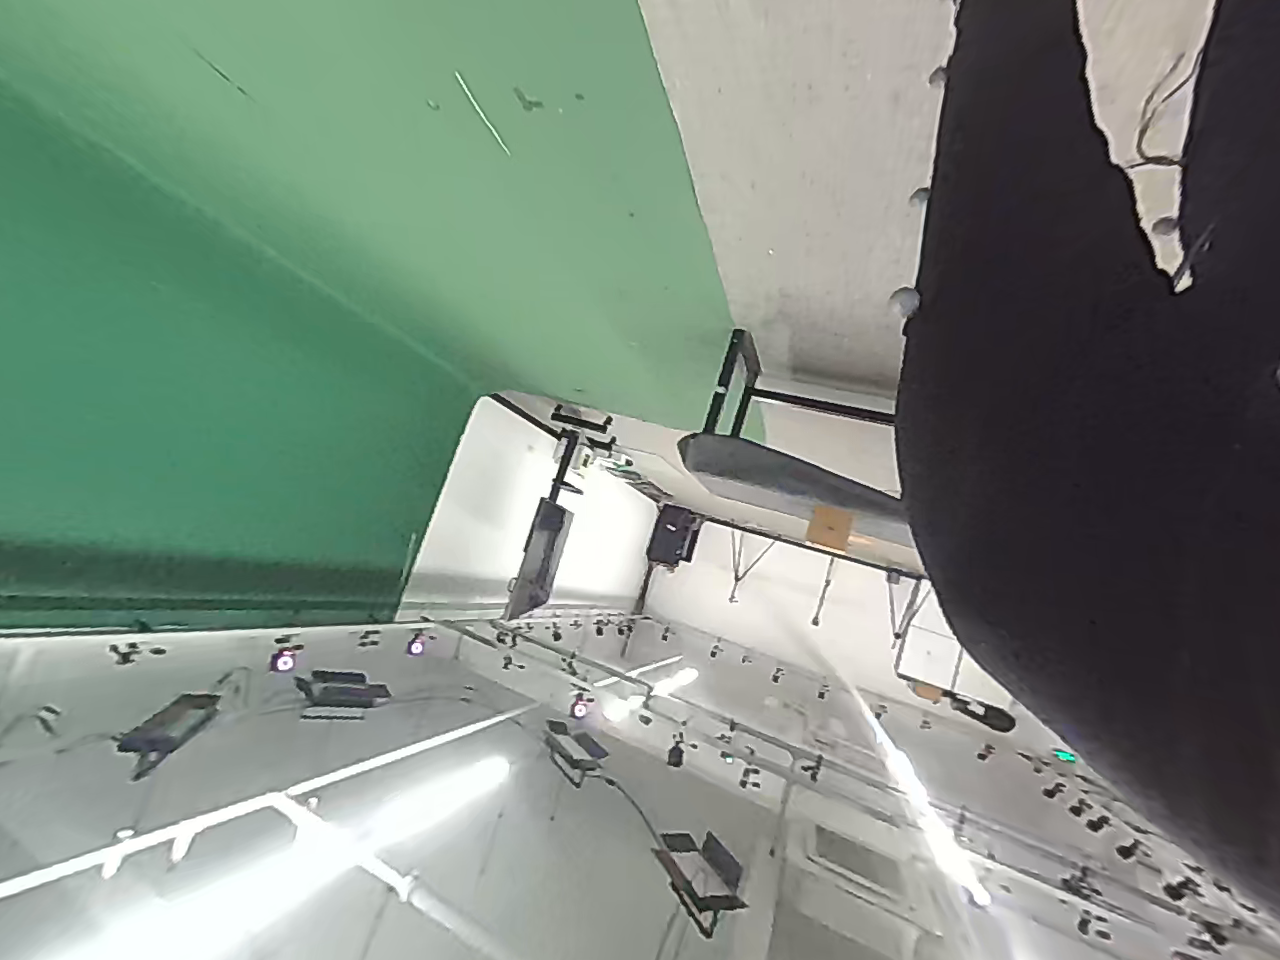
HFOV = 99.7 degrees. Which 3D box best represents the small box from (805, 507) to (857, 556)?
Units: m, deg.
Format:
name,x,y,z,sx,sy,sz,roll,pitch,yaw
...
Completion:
name,x,y,z,sx,sy,sz,roll,pitch,yaw
small box,0.857,0.225,2.419,0.179,0.176,0.168,17,173,25
